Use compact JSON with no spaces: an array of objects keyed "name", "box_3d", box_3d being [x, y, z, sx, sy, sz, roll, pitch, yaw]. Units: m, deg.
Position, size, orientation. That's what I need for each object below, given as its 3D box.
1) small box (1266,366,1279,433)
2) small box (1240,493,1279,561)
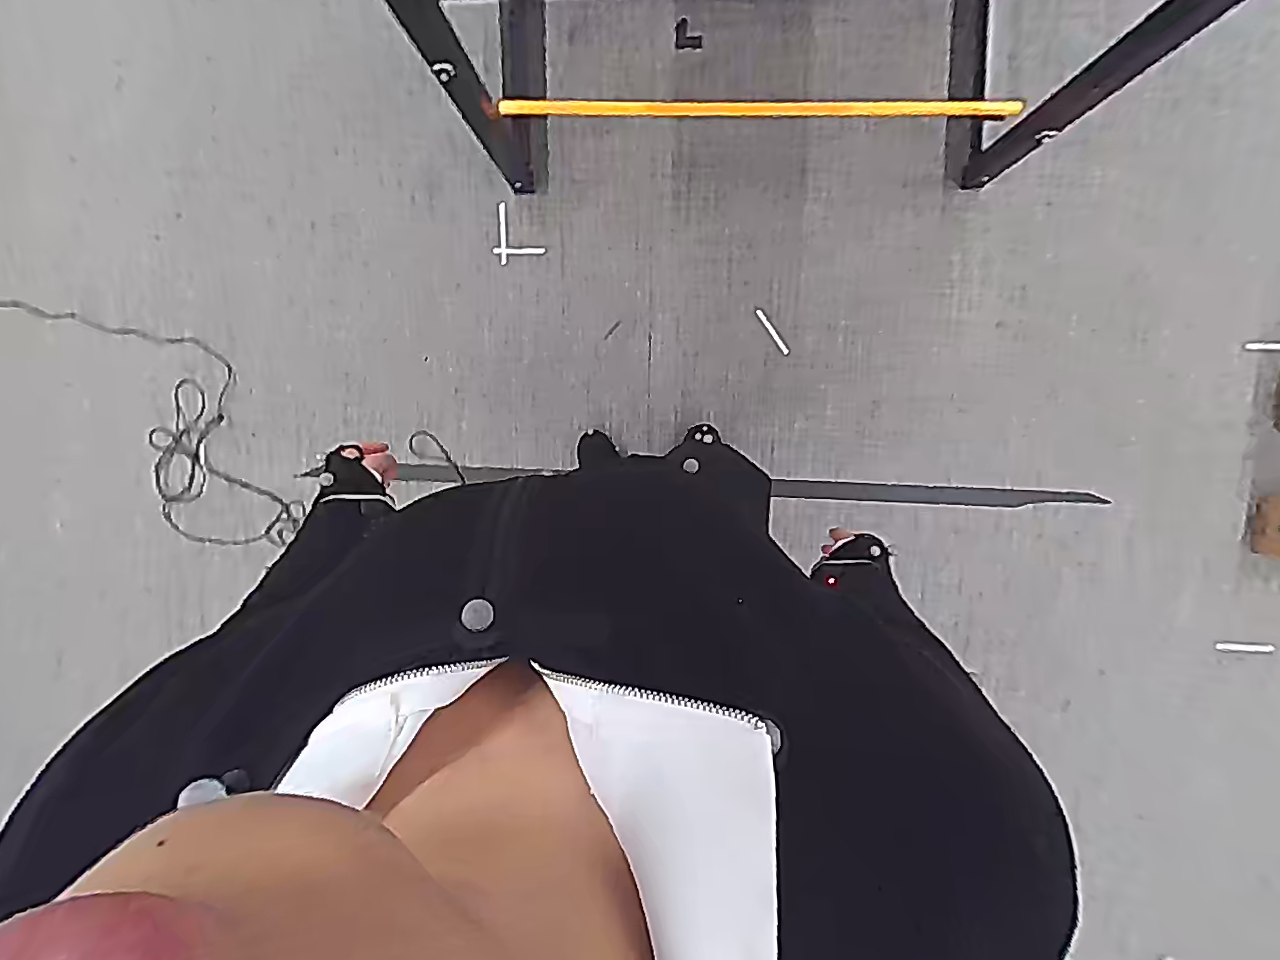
[{"name":"small box","box_3d":[1.709,-0.196,1.320,0.168,0.176,0.179,0,97,2]},{"name":"small box","box_3d":[1.696,0.127,1.365,0.179,0.176,0.168,3,98,3]}]
